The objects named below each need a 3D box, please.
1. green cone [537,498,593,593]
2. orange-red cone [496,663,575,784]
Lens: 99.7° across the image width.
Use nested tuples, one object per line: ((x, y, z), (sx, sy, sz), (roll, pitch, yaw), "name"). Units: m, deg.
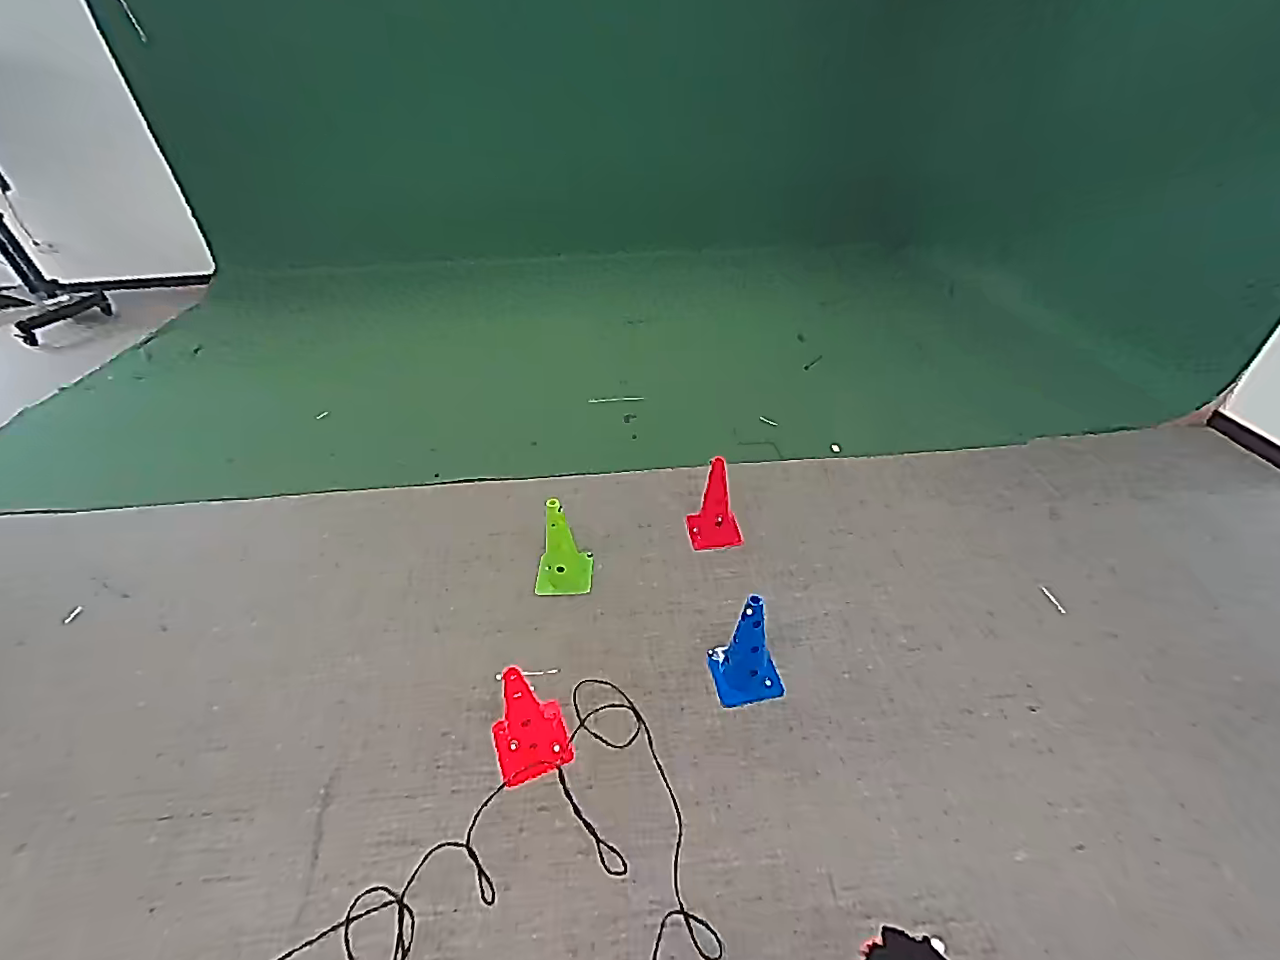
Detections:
((-0.284, 0.208, 1.903), (0.200, 0.368, 0.202), (-3, 40, 0), "green cone")
((-0.303, 0.600, 1.421), (0.198, 0.360, 0.199), (-15, 39, -17), "orange-red cone")
